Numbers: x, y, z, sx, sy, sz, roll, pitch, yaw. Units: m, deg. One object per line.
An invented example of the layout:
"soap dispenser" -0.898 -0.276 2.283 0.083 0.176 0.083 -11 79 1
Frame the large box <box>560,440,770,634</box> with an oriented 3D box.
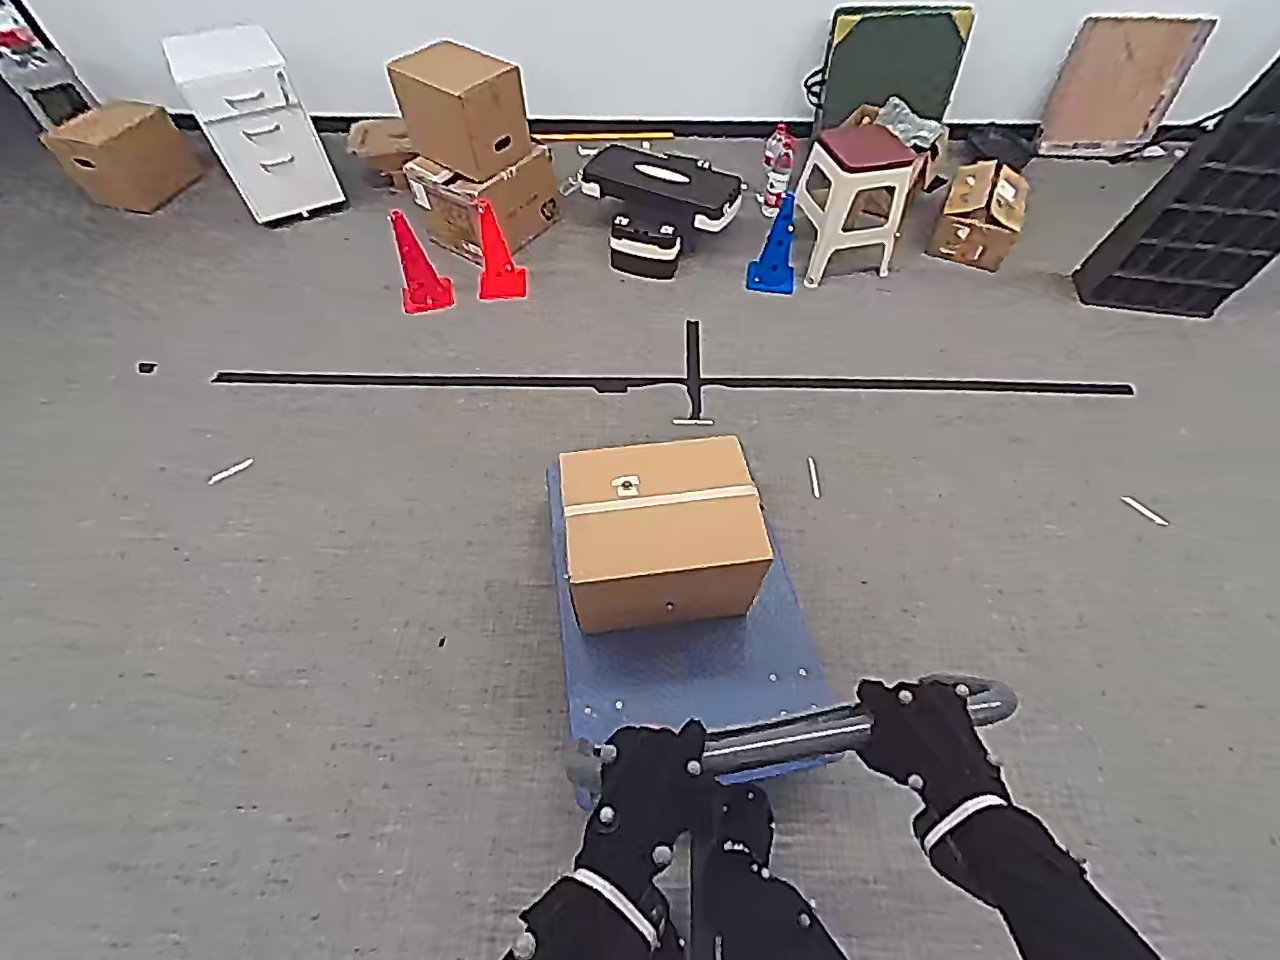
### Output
"large box" 0.042 0.139 1.252 0.408 0.320 0.320 -7 57 -4
